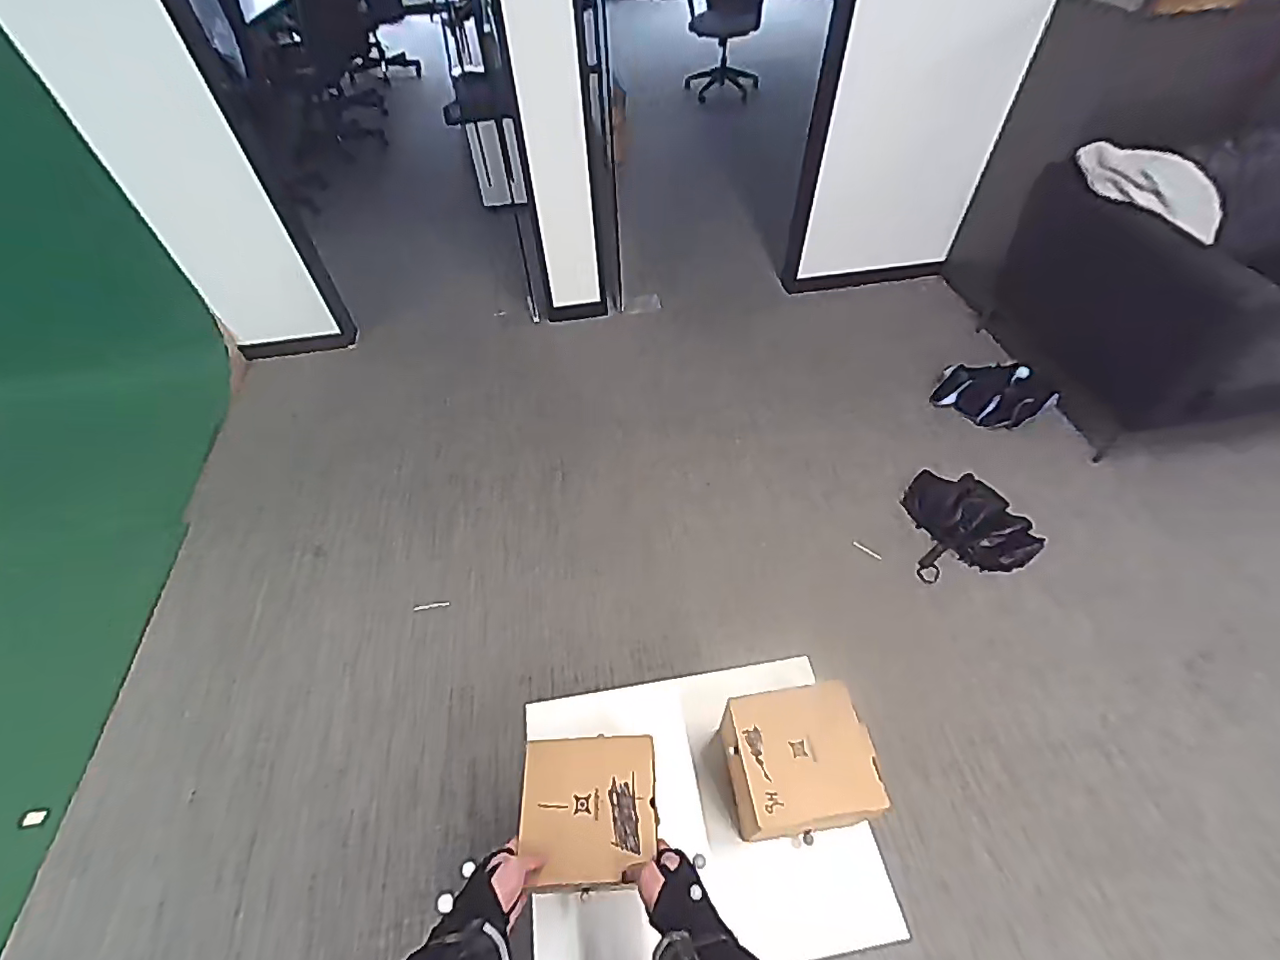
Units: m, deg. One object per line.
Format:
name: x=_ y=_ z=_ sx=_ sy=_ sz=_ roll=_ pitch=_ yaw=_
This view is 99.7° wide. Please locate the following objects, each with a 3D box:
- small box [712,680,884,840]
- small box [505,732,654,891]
small box: x=0.214 y=0.409 z=0.787 sx=0.179 sy=0.176 sz=0.168 roll=-6 pitch=51 yaw=-6
small box: x=-0.075 y=0.455 z=0.742 sx=0.179 sy=0.176 sz=0.168 roll=-1 pitch=50 yaw=-2
